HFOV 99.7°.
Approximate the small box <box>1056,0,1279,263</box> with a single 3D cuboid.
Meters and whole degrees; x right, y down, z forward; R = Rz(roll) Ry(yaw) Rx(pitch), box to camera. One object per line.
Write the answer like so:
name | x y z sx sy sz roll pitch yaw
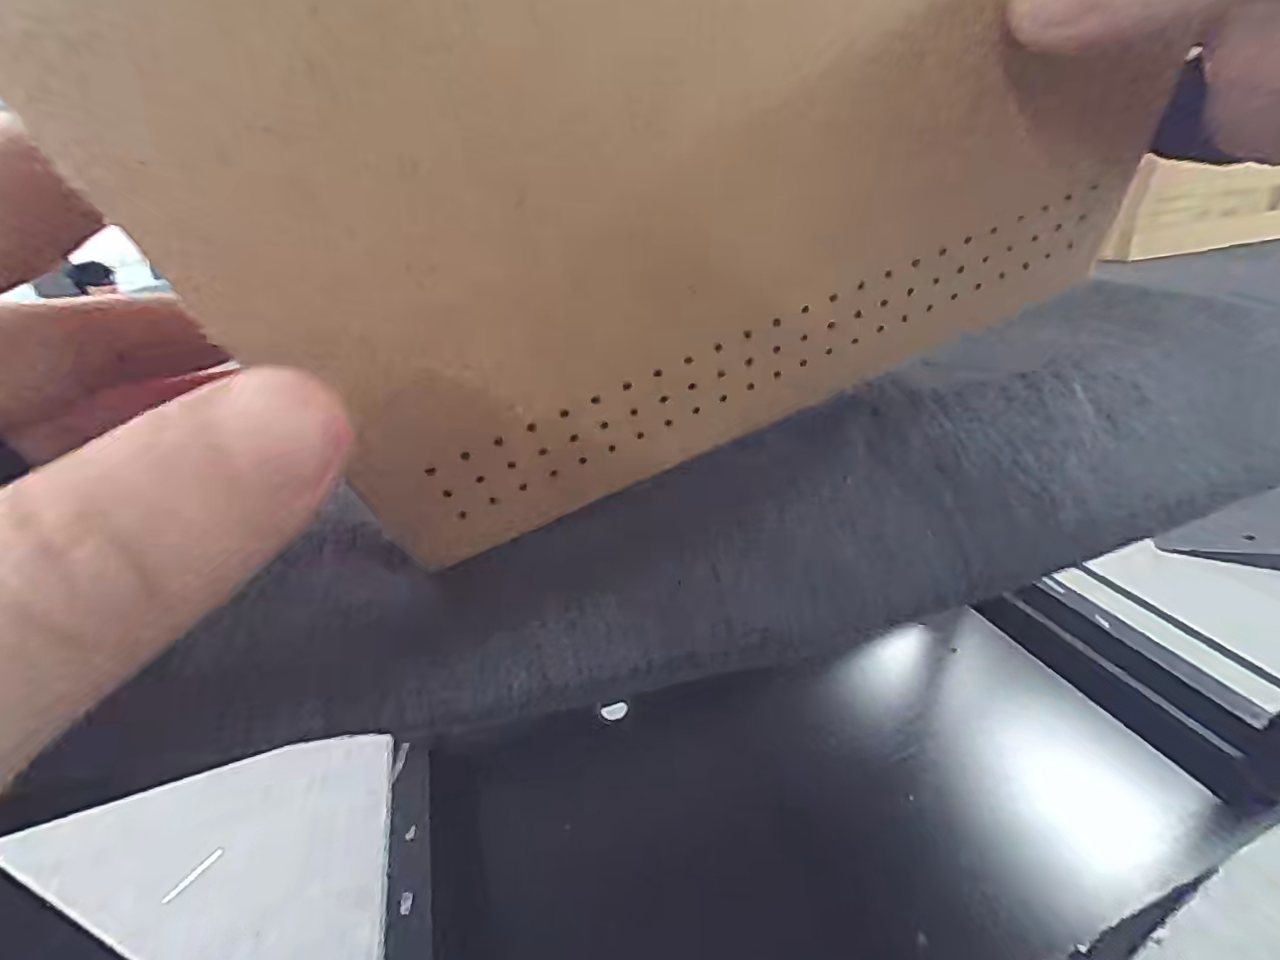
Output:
small box | 0.306 -0.238 0.339 0.168 0.176 0.179 -12 30 -12
